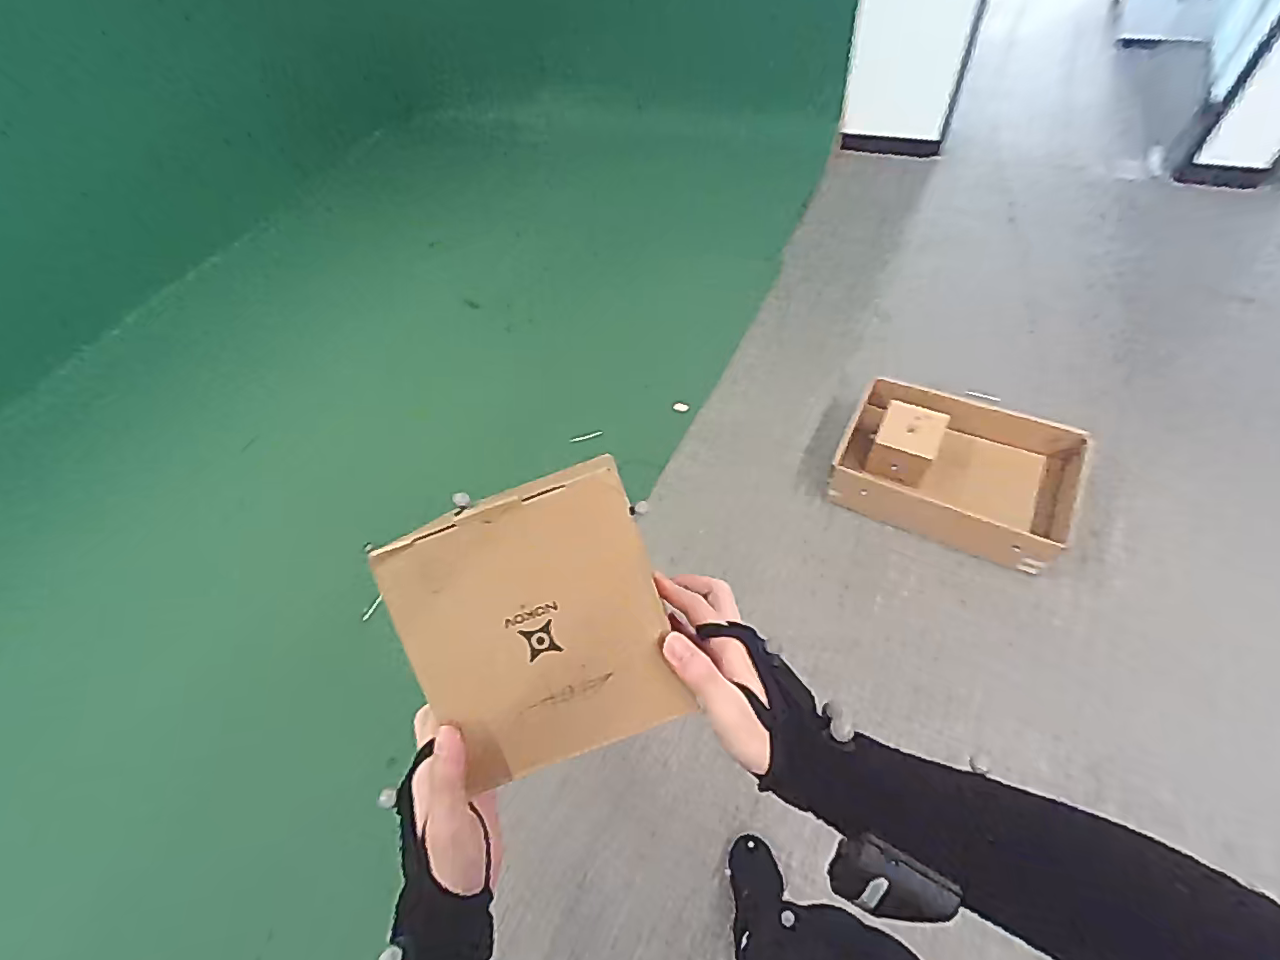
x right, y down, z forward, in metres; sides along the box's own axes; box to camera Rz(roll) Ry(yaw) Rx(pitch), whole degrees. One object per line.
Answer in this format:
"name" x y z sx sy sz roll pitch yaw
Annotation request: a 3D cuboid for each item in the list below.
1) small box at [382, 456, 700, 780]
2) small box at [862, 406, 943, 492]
"small box" -0.066 0.086 0.429 0.168 0.176 0.179 -19 95 0
"small box" 0.798 -0.092 1.660 0.168 0.176 0.179 22 63 21
